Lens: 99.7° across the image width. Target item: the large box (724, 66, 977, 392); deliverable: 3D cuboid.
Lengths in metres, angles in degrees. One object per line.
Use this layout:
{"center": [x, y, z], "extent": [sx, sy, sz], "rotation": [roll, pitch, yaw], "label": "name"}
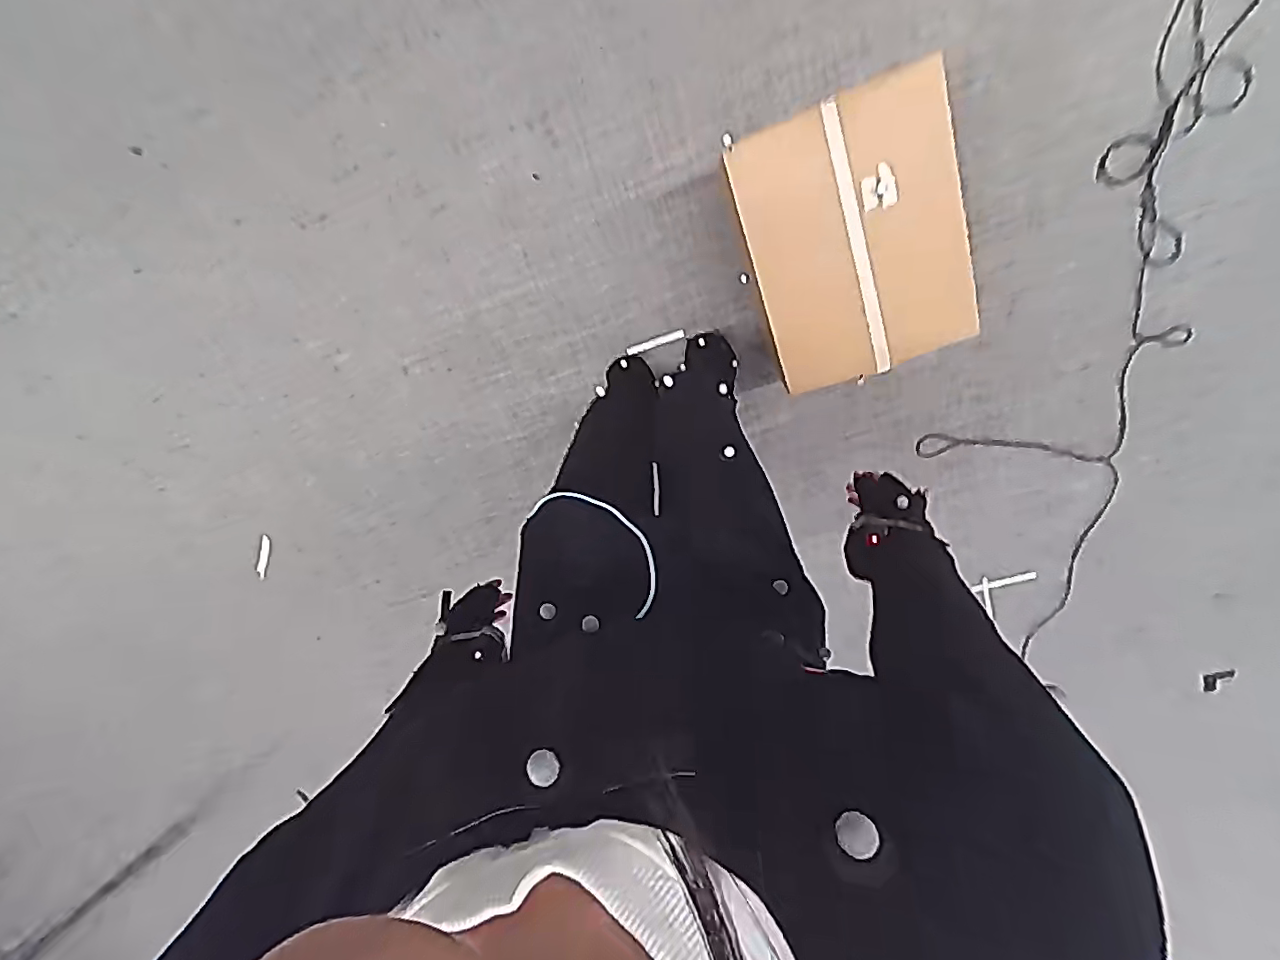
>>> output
{"center": [0.362, -0.428, 0.997], "extent": [0.320, 0.320, 0.408], "rotation": [-17, 110, 13], "label": "large box"}
